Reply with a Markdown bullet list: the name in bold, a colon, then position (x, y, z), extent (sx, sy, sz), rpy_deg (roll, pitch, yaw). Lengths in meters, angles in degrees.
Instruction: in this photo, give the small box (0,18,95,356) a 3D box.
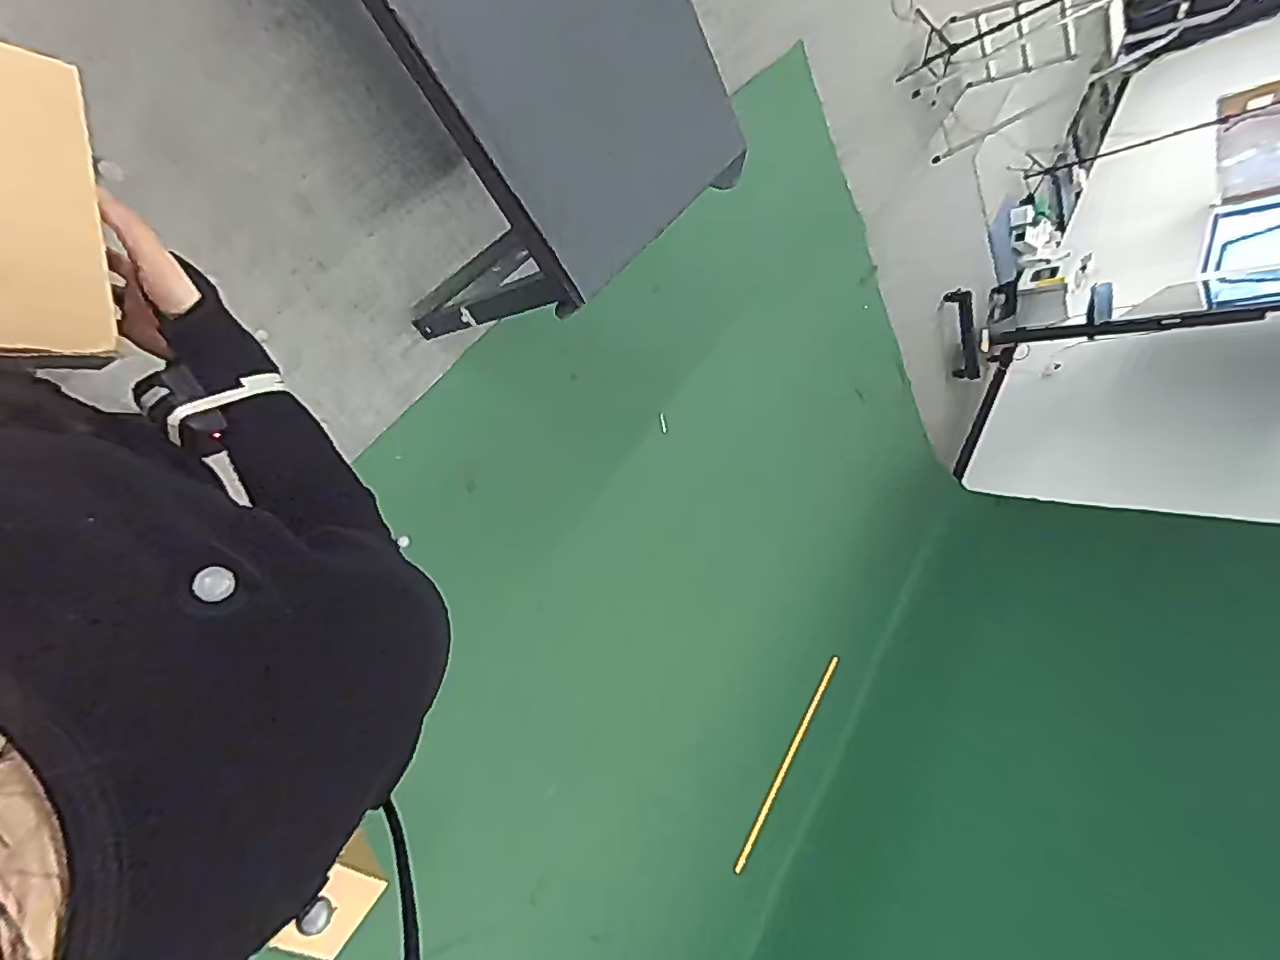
- **small box**: position (-0.455, -0.173, 0.320), extent (0.168, 0.176, 0.179), rpy_deg (-8, 102, -48)
